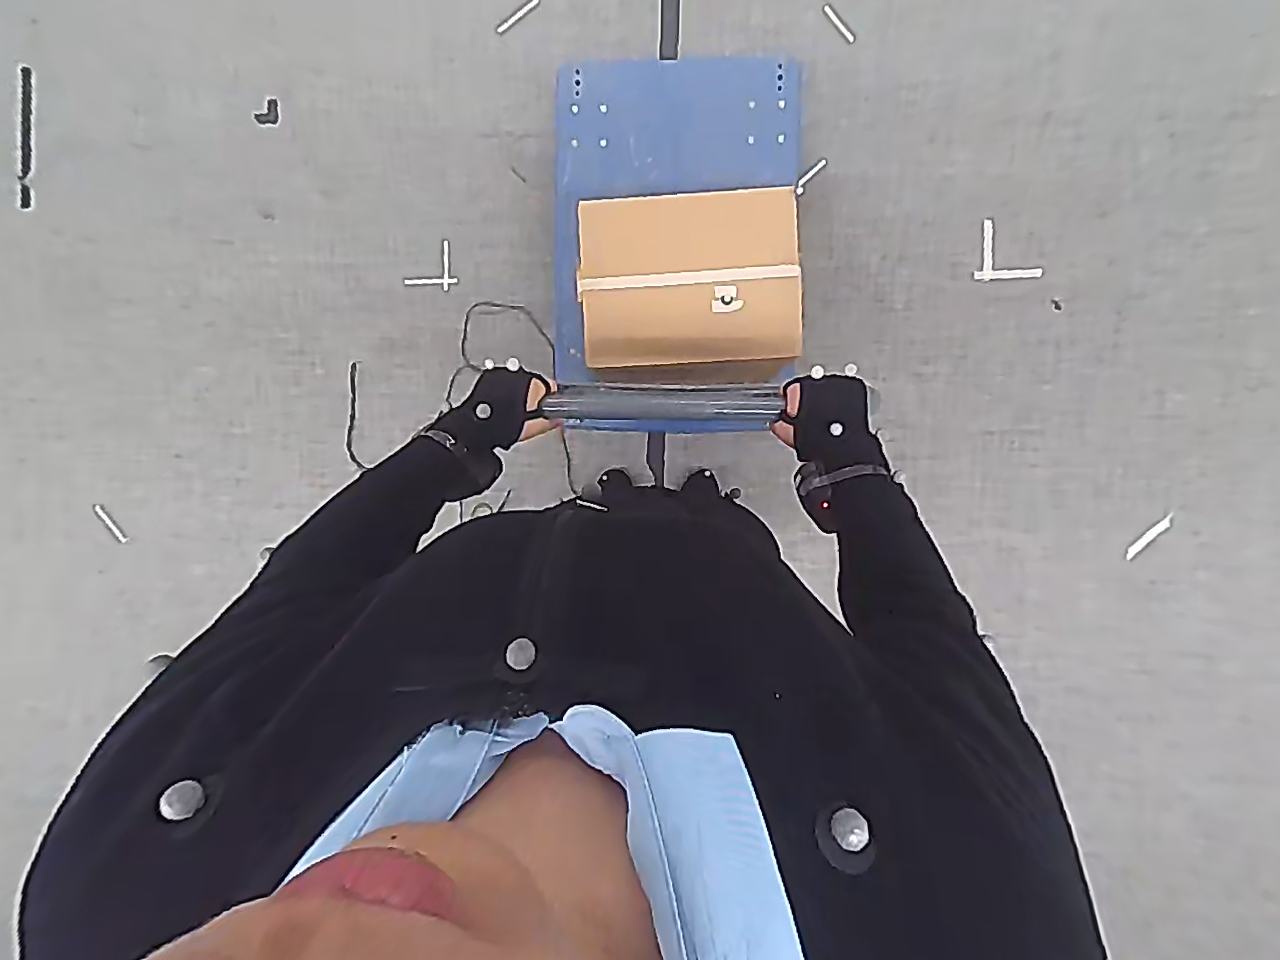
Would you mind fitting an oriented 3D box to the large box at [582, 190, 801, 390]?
[{"bbox_3d":[0.101,-0.381,1.167,0.408,0.320,0.320,-3,92,2],"label":"large box"}]
